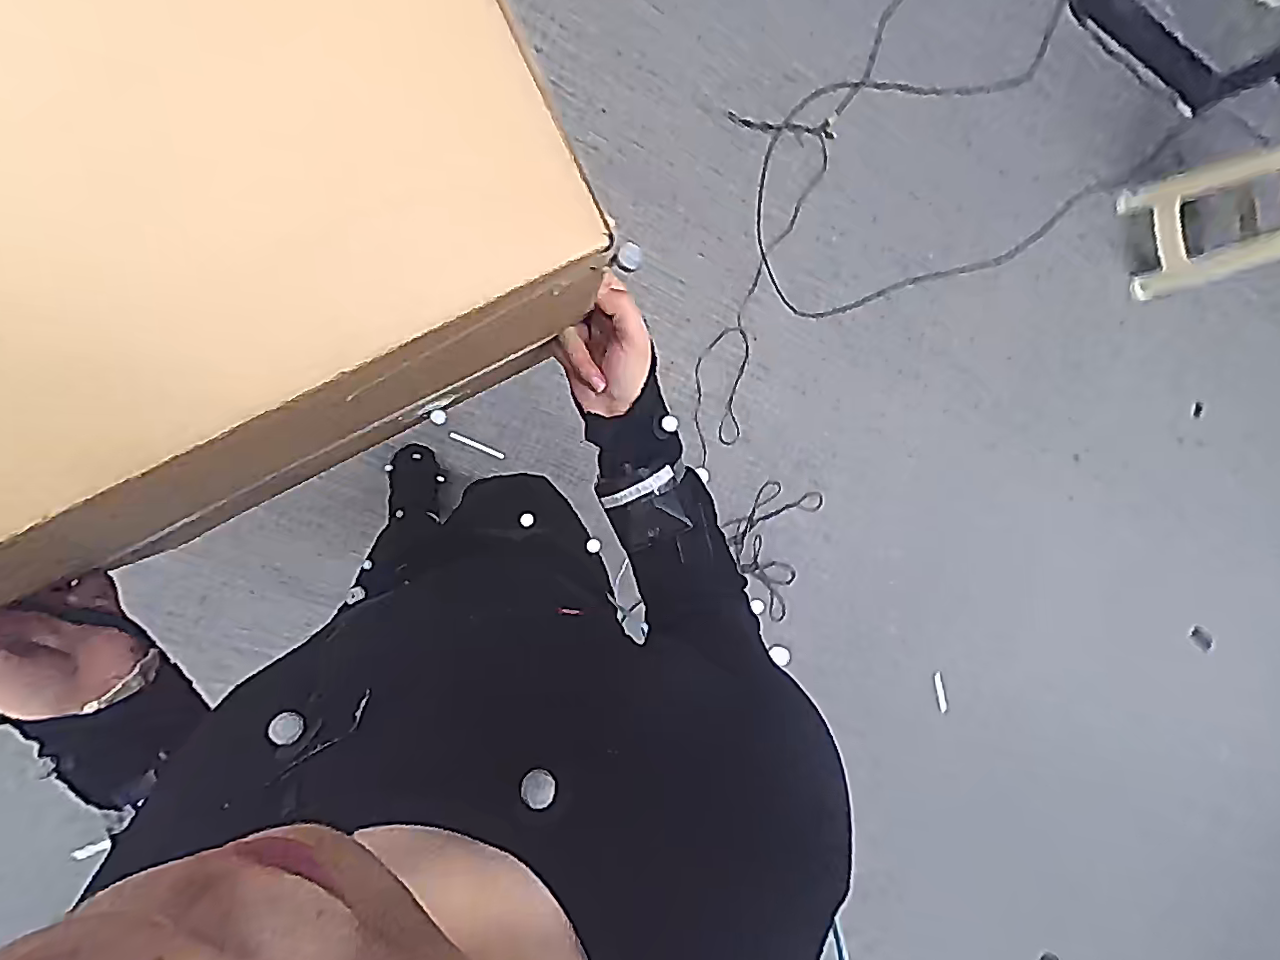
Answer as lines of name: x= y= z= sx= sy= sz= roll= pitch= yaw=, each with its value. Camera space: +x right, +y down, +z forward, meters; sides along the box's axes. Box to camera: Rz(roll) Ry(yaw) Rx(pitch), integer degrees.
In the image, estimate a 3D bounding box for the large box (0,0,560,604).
large box: x=-0.302 y=-0.158 z=0.331 sx=0.408 sy=0.320 sz=0.320 roll=-31 pitch=101 yaw=-4
